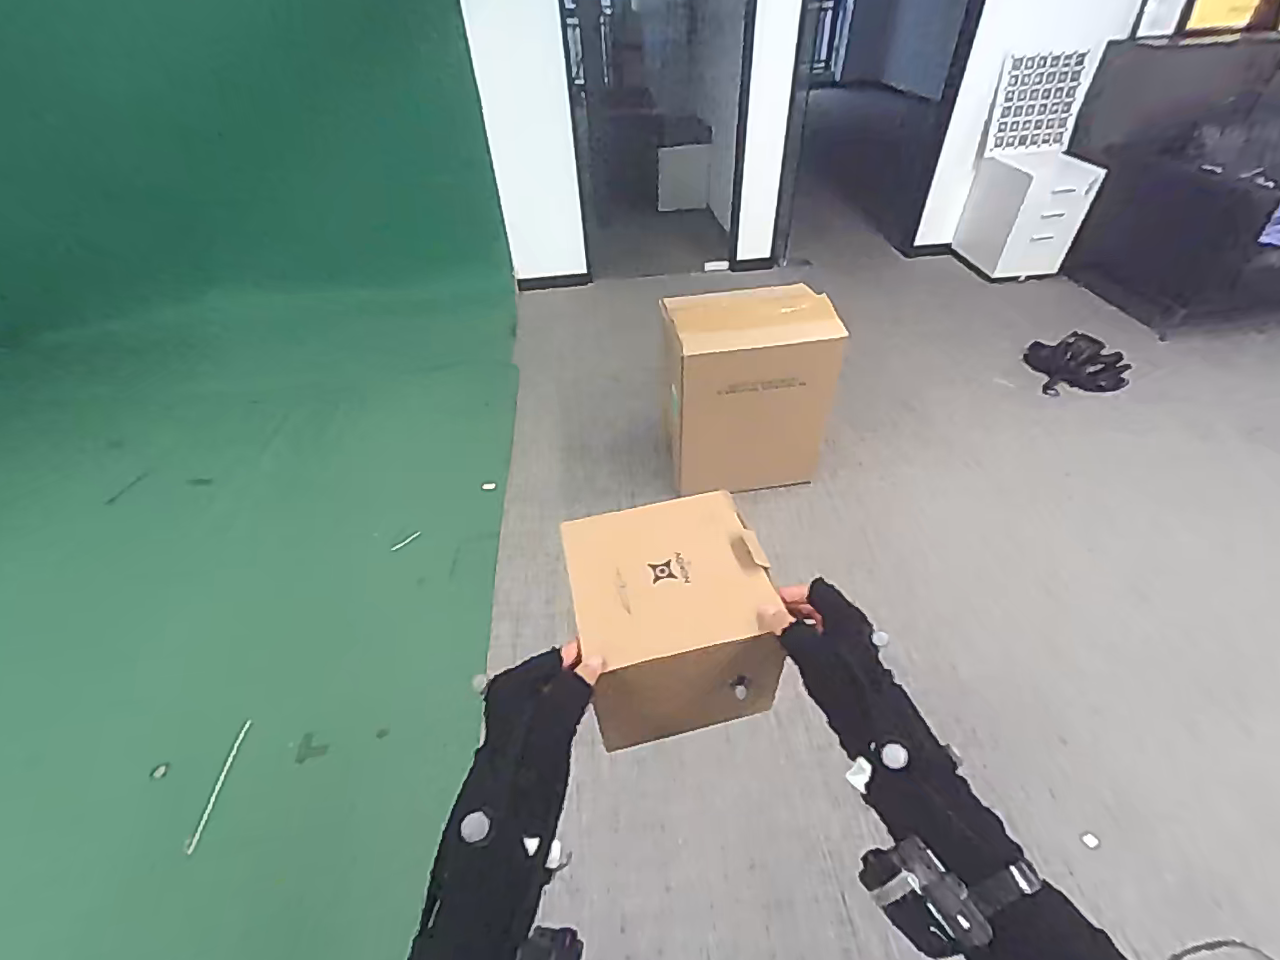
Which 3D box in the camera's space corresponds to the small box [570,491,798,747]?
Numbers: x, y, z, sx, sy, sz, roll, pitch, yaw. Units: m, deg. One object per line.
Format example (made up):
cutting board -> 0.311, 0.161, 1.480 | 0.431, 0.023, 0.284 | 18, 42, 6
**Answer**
small box -> 0.036, 0.140, 0.548 | 0.179, 0.176, 0.168 | -13, 44, -7
